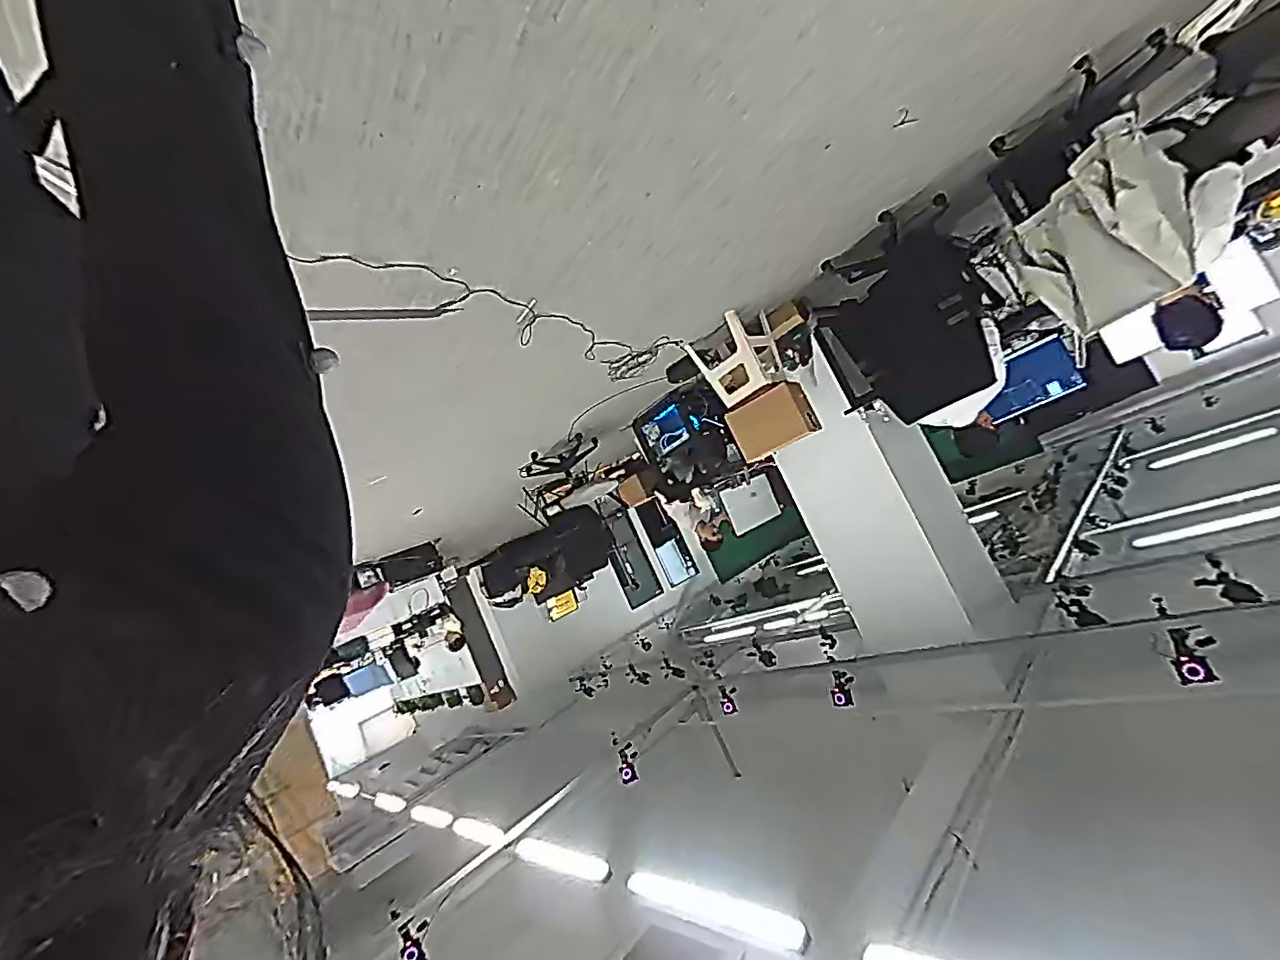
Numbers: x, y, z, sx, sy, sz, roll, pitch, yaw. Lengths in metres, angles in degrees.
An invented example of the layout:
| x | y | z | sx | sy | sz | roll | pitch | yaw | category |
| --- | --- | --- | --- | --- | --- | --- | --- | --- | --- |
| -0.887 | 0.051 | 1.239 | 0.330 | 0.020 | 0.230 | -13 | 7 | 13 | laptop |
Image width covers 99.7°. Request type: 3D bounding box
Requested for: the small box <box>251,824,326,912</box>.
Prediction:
| x | y | z | sx | sy | sz | roll | pitch | yaw | category |
| --- | --- | --- | --- | --- | --- | --- | --- | --- | --- |
| -1.224 | 1.337 | 1.878 | 0.179 | 0.176 | 0.168 | -20 | 172 | -42 | small box |
